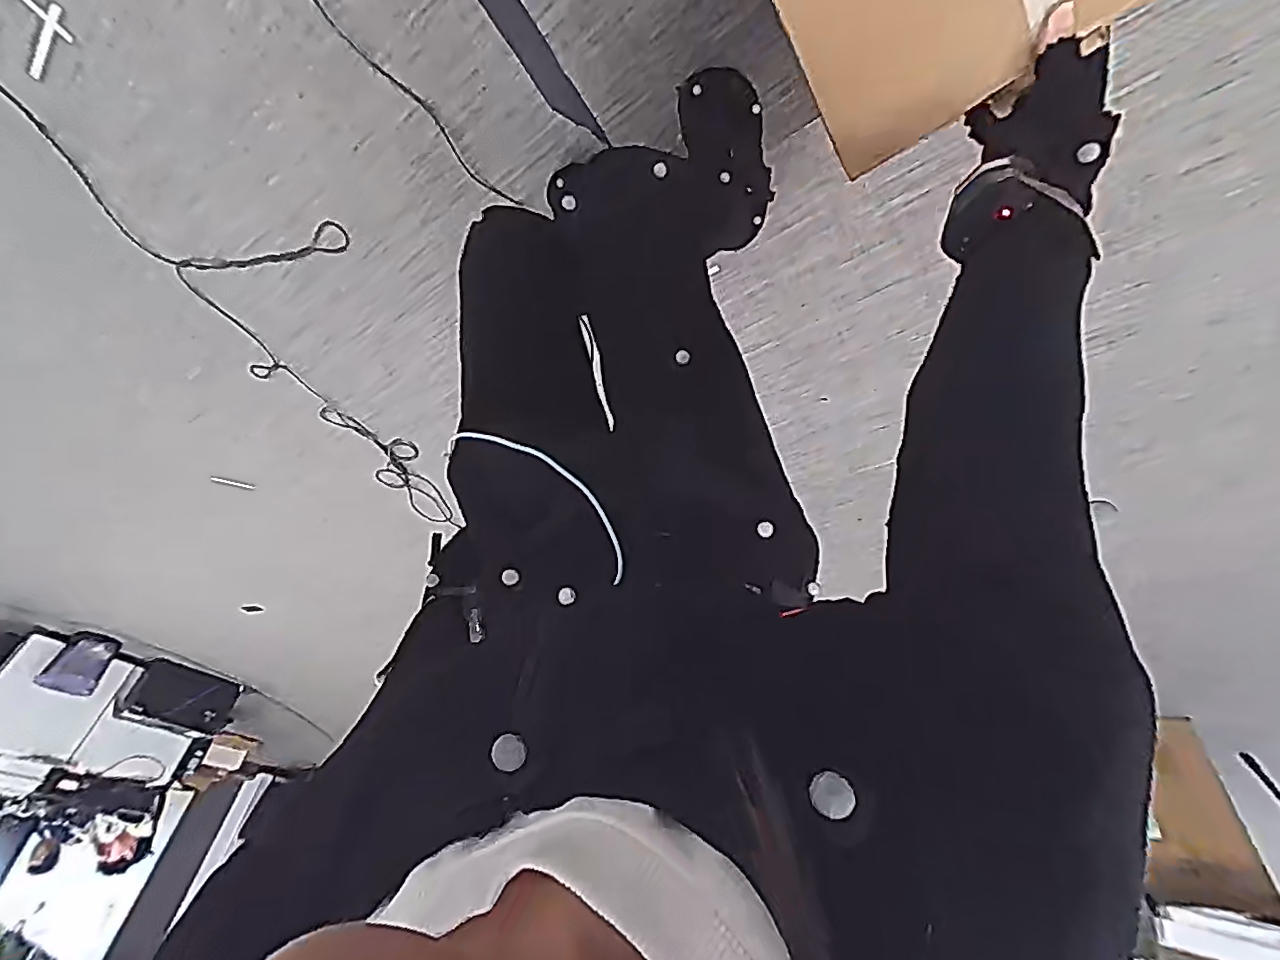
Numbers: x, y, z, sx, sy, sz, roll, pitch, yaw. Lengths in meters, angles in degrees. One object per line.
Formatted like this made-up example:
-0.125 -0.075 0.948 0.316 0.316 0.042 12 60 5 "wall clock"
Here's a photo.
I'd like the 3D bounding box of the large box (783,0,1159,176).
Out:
0.268 -0.566 0.486 0.320 0.320 0.408 -23 113 29 "large box"
